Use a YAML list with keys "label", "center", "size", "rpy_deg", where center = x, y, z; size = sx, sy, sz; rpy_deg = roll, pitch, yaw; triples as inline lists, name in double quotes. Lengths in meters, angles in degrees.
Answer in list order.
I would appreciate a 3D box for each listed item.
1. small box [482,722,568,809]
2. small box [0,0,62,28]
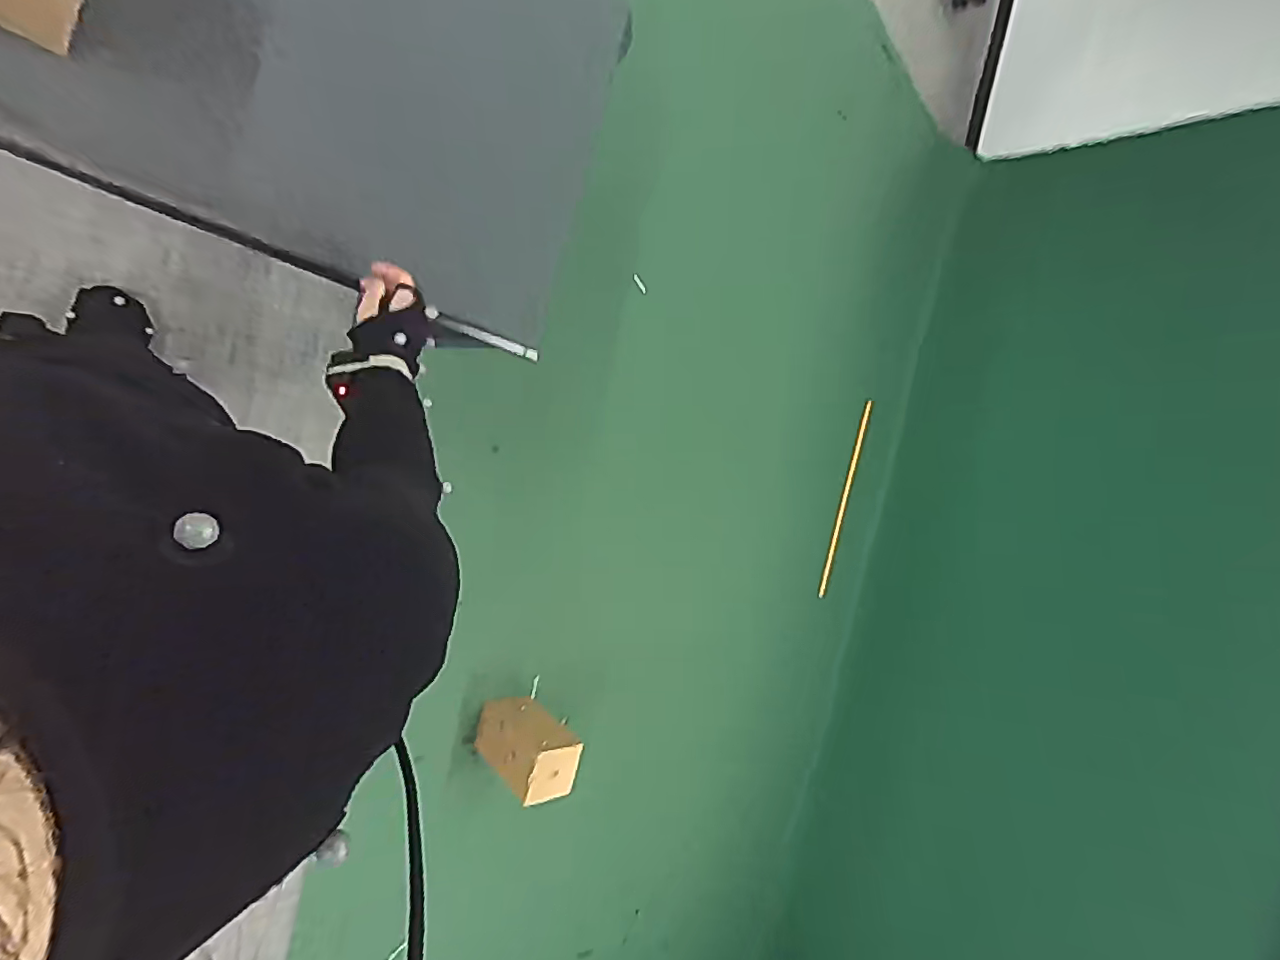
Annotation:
- label: "small box"
  center: [-0.361, 0.879, 1.686]
  size: [0.179, 0.176, 0.168]
  rpy_deg: [15, 91, -45]
- label: "small box"
  center: [-0.504, -0.480, 0.371]
  size: [0.168, 0.176, 0.179]
  rpy_deg: [17, 89, -45]
